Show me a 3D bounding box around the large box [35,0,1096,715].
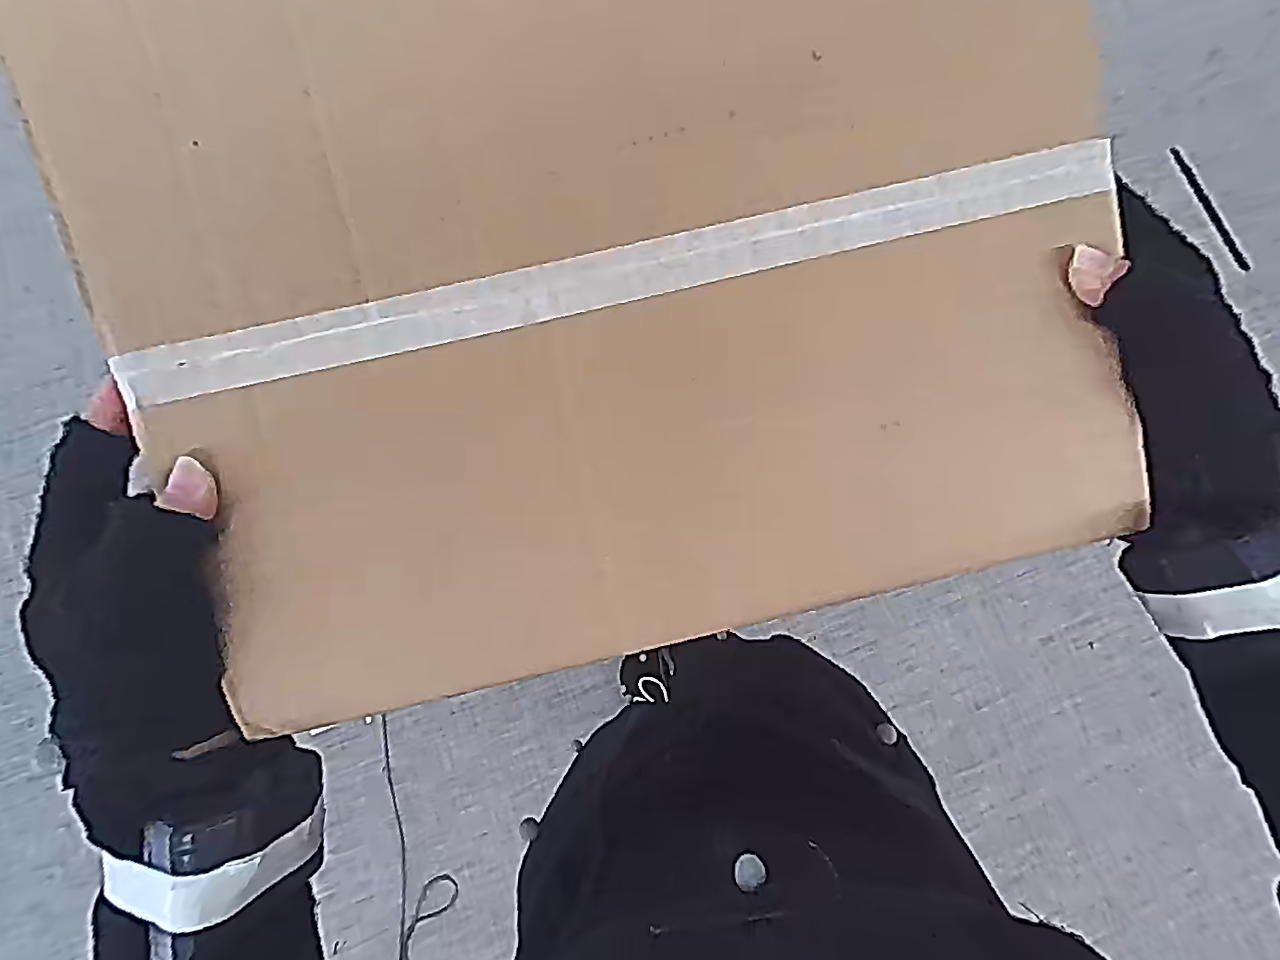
[{"bbox_3d":[-0.014,-0.104,0.378,0.408,0.320,0.320,-13,97,-2],"label":"large box"}]
